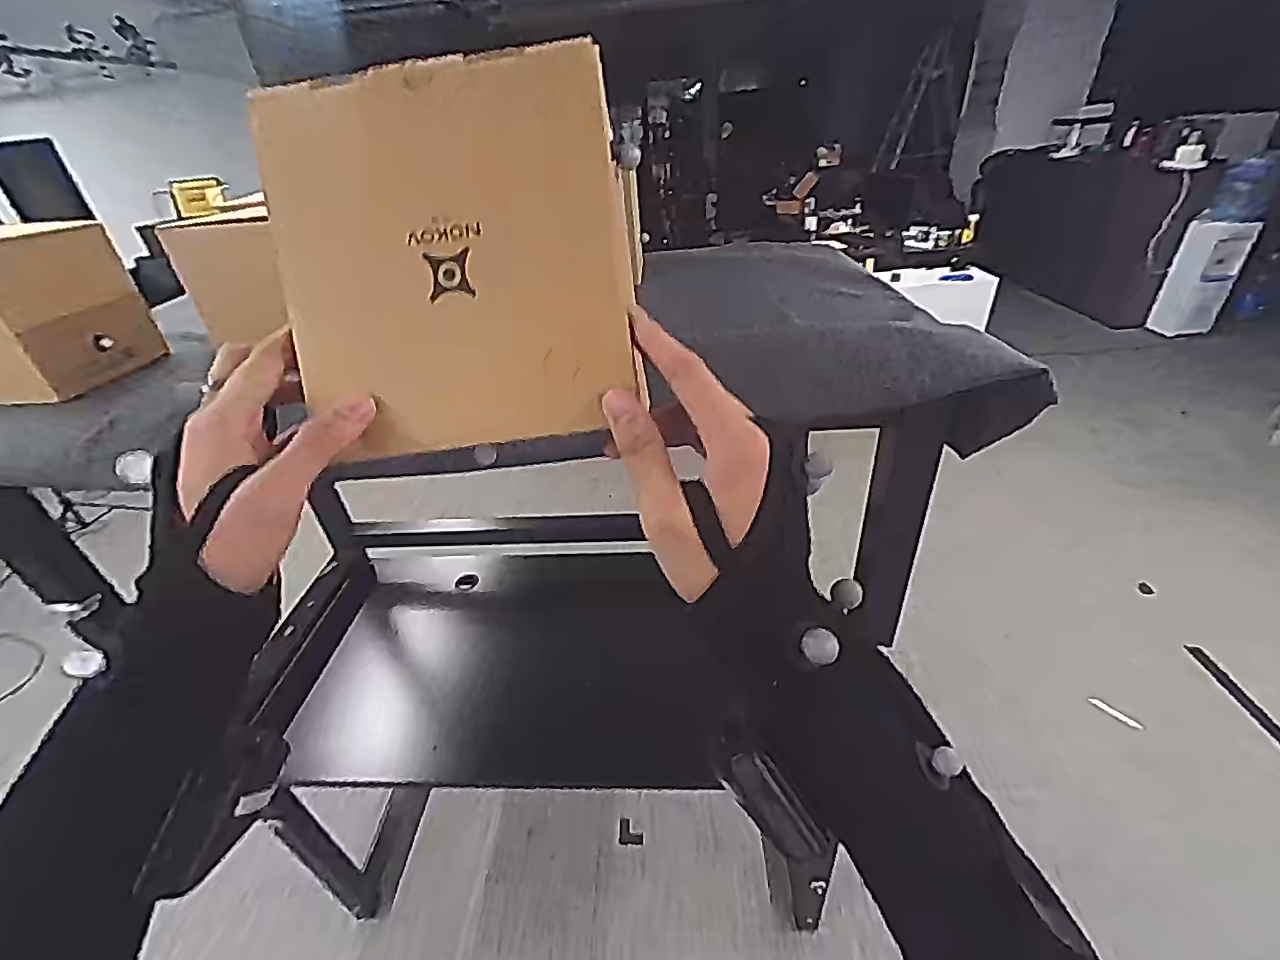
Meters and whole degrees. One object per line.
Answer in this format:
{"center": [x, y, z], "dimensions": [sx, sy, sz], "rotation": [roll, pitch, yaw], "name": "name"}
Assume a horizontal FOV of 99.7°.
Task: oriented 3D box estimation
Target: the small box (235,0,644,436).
{"center": [-0.089, -0.127, 0.330], "dimensions": [0.168, 0.179, 0.176], "rotation": [-7, 6, 3], "name": "small box"}

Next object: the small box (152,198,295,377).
{"center": [-0.381, -0.228, 0.627], "dimensions": [0.179, 0.176, 0.168], "rotation": [-2, 32, 3], "name": "small box"}

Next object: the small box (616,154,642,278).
{"center": [-0.093, -0.417, 0.872], "dimensions": [0.179, 0.176, 0.168], "rotation": [-3, 34, 4], "name": "small box"}
